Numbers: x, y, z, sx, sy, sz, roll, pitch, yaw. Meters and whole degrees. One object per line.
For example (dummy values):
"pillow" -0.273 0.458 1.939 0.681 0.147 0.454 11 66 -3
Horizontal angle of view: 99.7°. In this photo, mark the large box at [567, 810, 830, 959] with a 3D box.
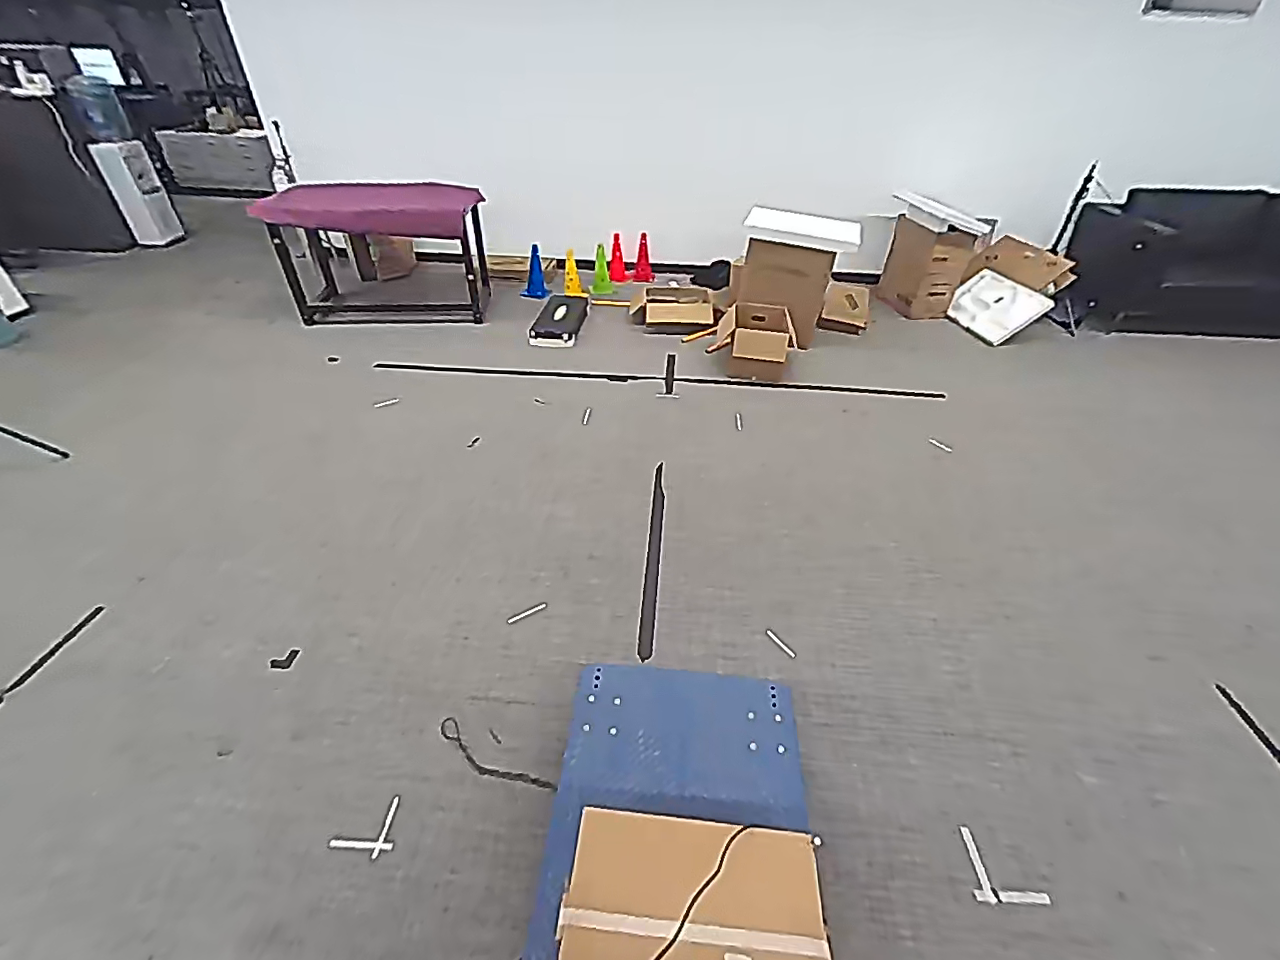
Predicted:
"large box" 0.084 0.814 0.930 0.408 0.320 0.320 5 40 3
